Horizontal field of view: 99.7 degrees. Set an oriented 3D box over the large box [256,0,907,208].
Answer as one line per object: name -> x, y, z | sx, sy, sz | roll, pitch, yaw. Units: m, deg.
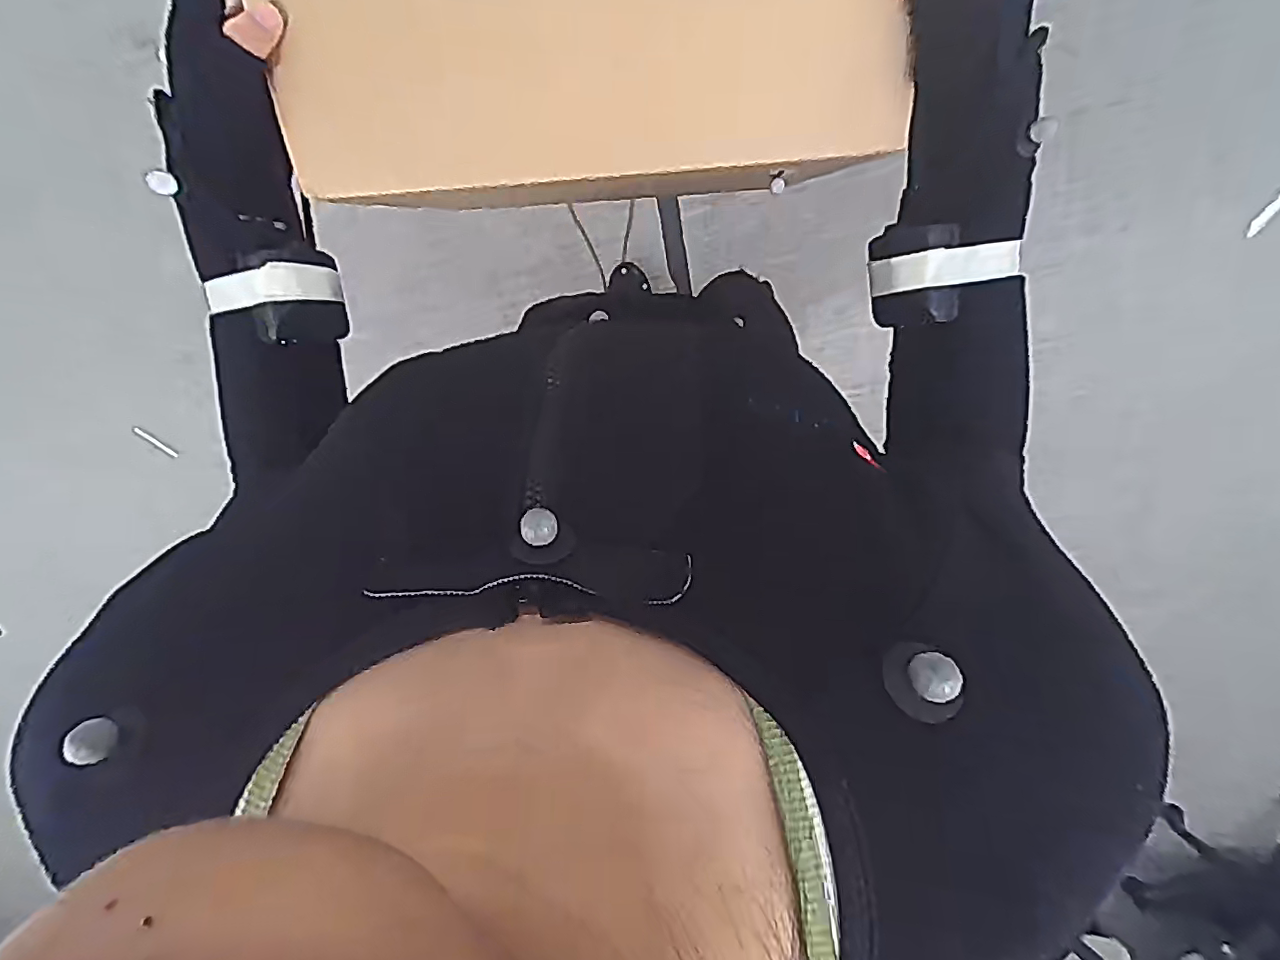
large box -> -0.037, -0.410, 0.440 | 0.408, 0.320, 0.320 | -3, 115, 3
